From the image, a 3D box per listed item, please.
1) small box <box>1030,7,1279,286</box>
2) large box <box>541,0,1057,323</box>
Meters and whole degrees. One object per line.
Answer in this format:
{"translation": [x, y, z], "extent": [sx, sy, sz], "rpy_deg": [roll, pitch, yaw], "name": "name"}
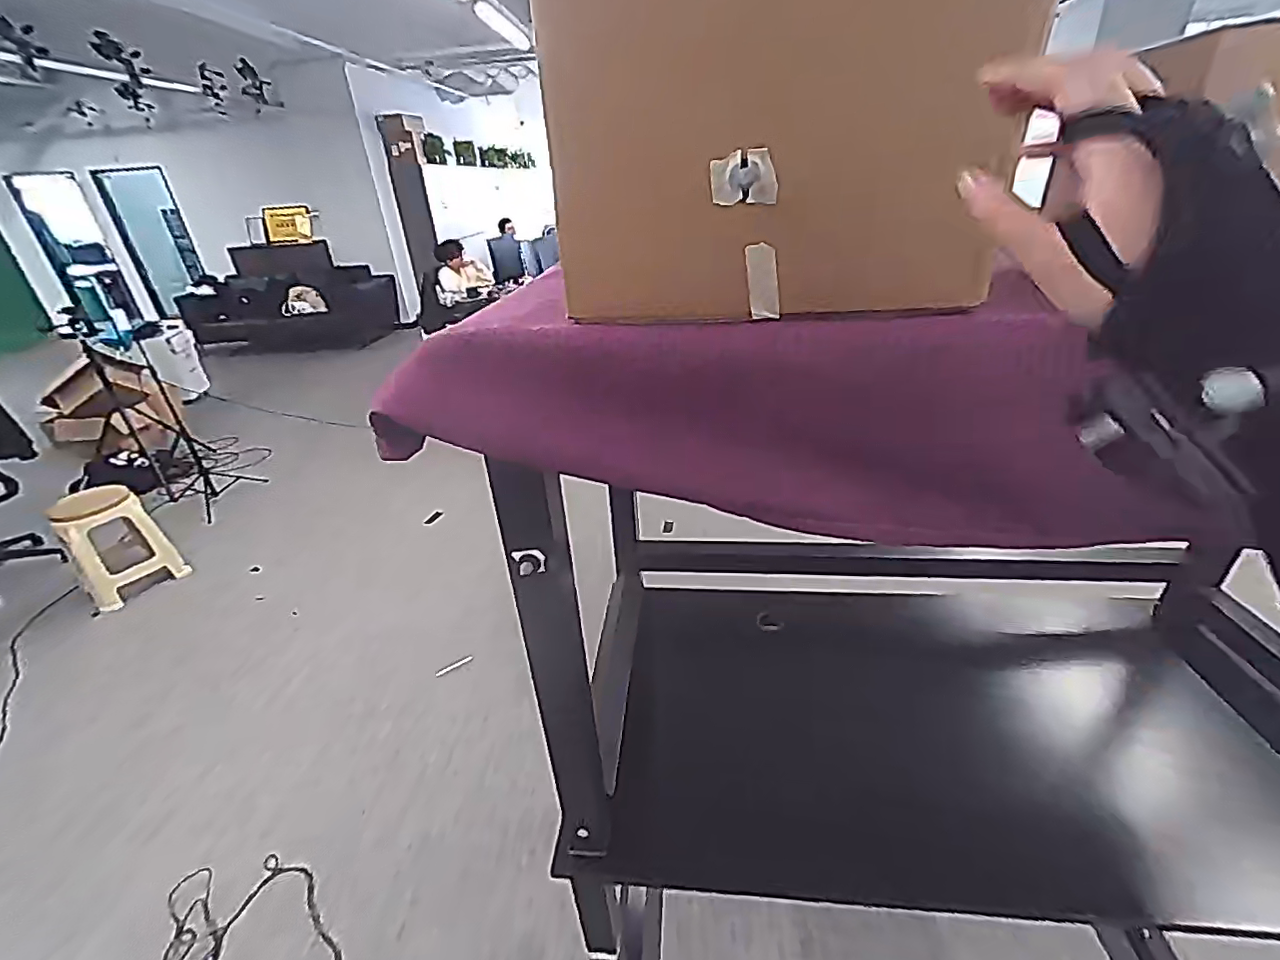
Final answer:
{"translation": [0.469, -0.261, 0.440], "extent": [0.179, 0.176, 0.168], "rpy_deg": [0, 28, 7], "name": "small box"}
{"translation": [0.107, -0.346, 0.501], "extent": [0.320, 0.320, 0.408], "rpy_deg": [1, 28, 7], "name": "large box"}
